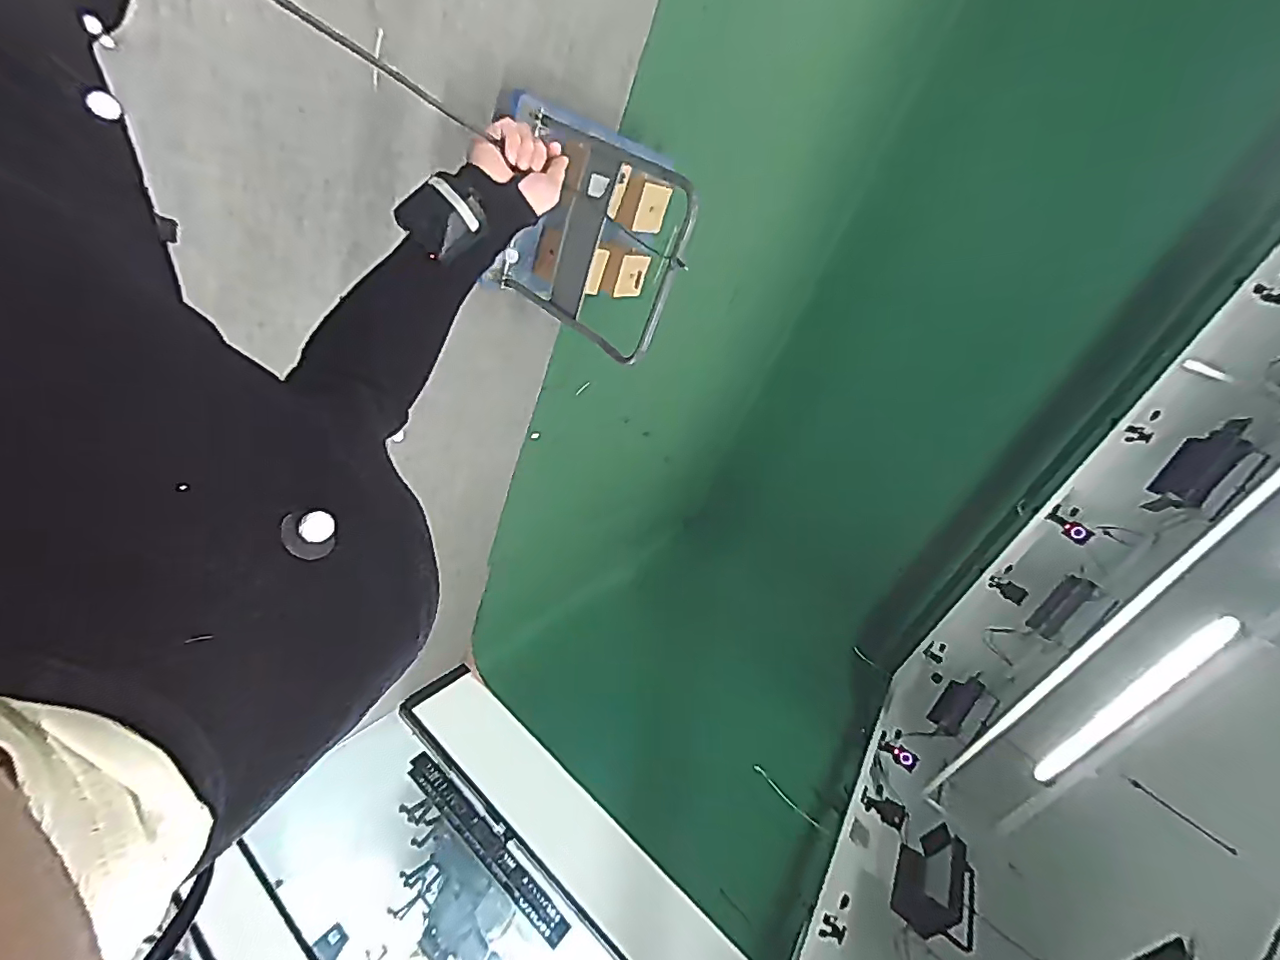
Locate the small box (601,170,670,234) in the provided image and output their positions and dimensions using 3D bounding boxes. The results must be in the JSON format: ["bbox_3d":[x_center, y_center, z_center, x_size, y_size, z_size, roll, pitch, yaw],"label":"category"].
[{"bbox_3d":[-0.021,-1.044,2.030,0.179,0.176,0.168,-25,145,-50],"label":"small box"}]

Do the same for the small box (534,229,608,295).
[{"bbox_3d":[-0.250,-0.785,1.949,0.179,0.176,0.168,-20,140,-53],"label":"small box"}]

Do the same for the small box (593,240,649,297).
[{"bbox_3d":[-0.097,-0.845,2.163,0.179,0.176,0.168,-24,142,-49],"label":"small box"}]
